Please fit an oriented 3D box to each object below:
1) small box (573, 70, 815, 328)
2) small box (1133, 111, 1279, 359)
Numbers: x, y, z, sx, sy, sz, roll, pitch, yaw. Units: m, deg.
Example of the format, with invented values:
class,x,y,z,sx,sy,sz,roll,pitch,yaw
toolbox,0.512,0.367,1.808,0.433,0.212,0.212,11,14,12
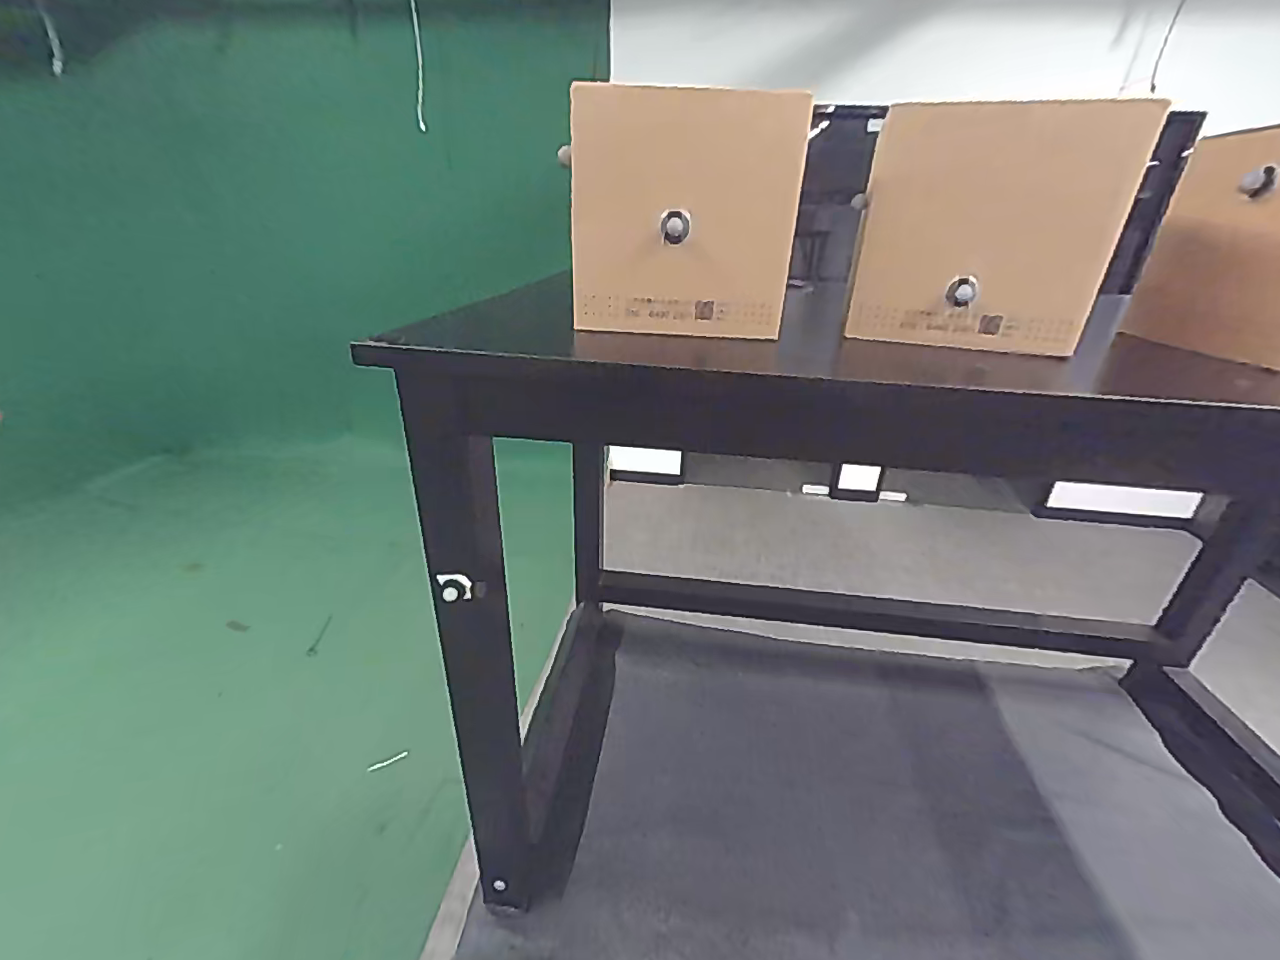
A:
class,x,y,z,sx,sy,sz,roll,pitch,yaw
small box,0.040,-0.233,0.469,0.168,0.176,0.179,4,26,2
small box,0.548,-0.182,0.410,0.168,0.176,0.179,3,26,1
